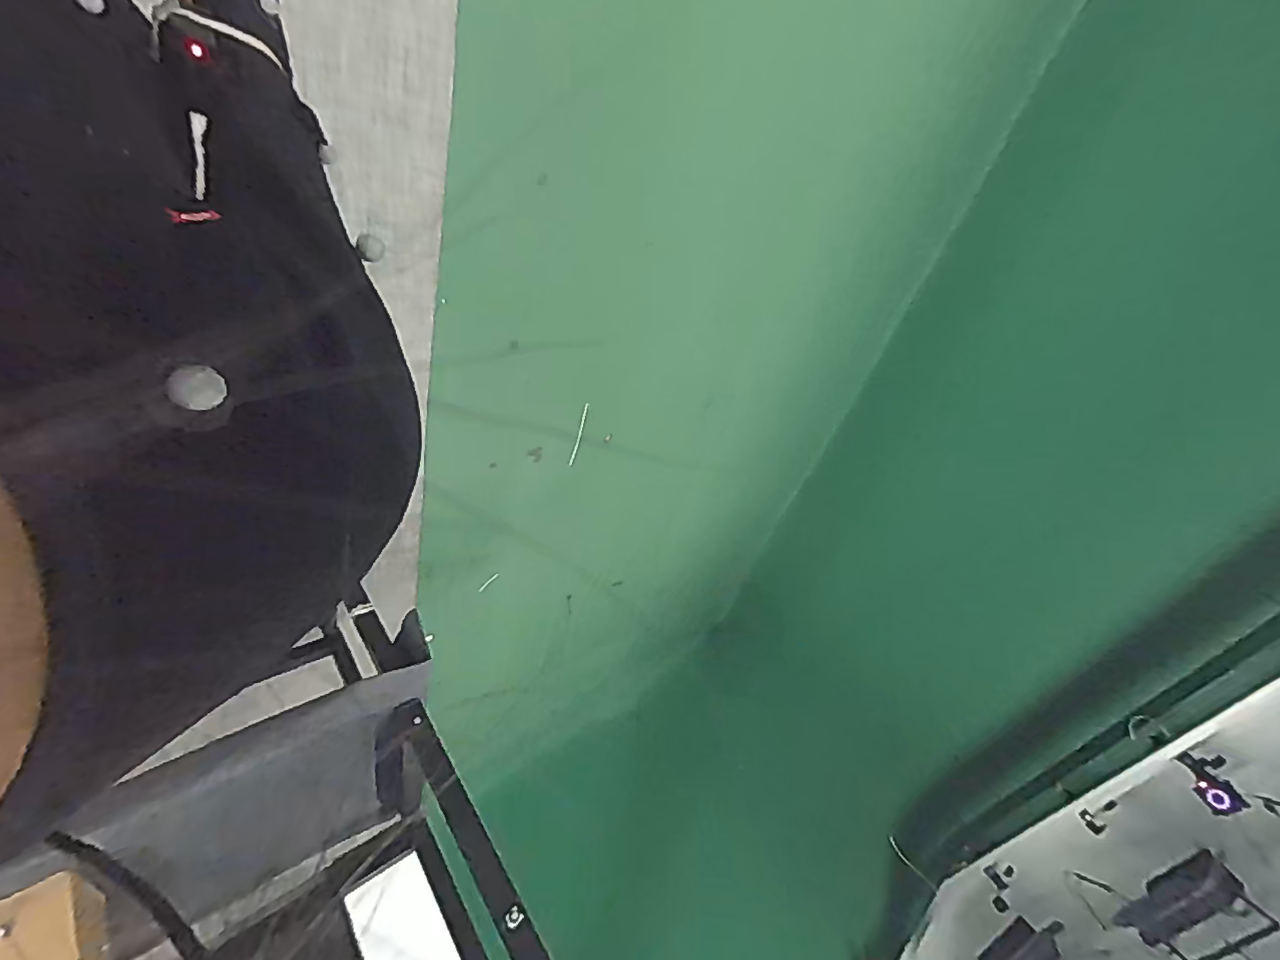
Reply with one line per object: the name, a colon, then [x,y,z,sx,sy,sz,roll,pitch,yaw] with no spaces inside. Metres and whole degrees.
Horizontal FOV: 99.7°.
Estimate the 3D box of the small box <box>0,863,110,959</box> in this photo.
small box: [-1.043,0.803,0.921,0.168,0.176,0.179,-19,141,-39]
